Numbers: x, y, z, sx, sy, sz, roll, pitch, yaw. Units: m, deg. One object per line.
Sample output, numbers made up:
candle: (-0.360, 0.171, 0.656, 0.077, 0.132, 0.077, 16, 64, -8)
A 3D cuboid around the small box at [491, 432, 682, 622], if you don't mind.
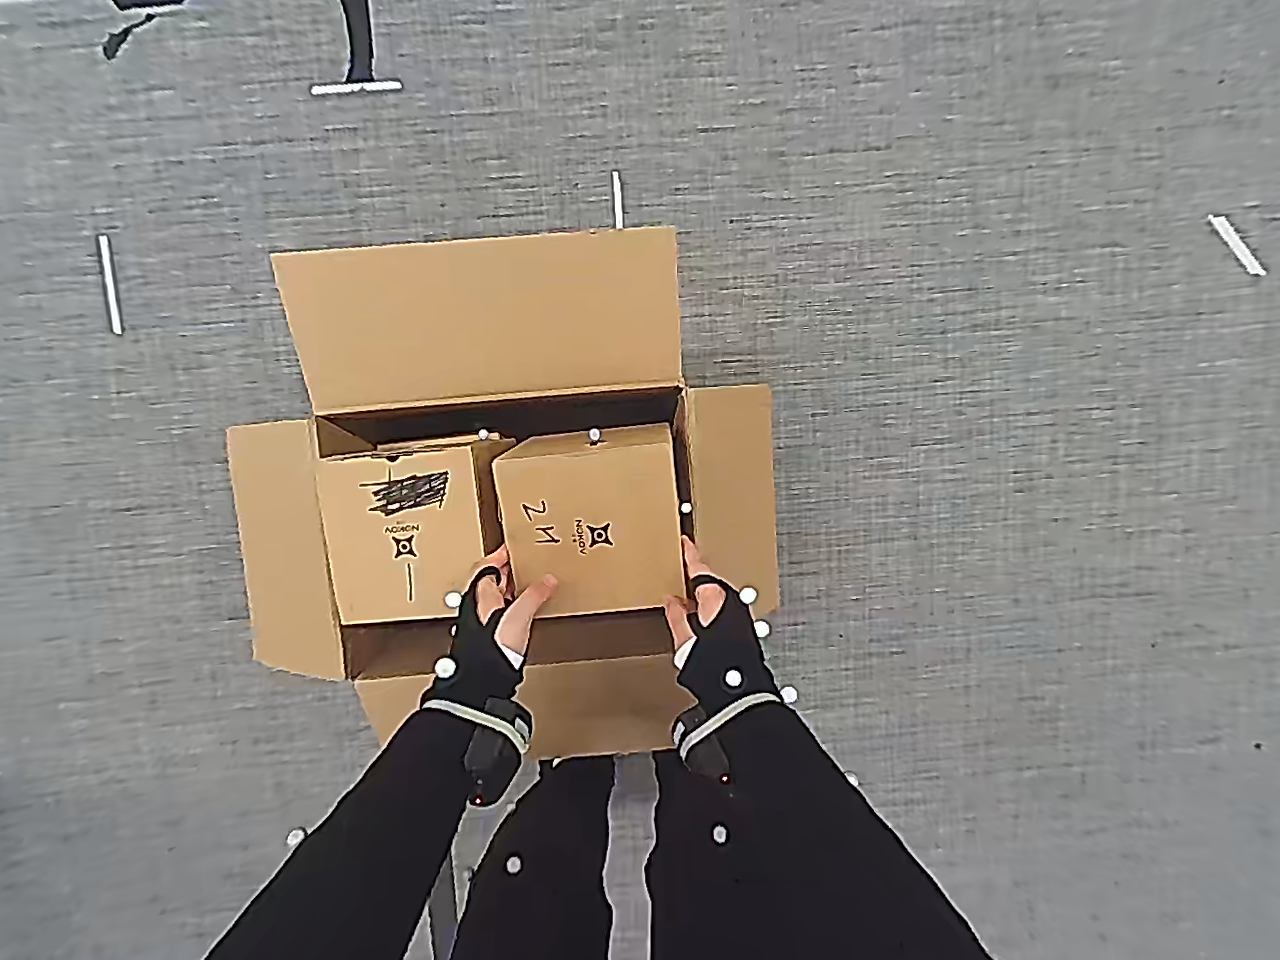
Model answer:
small box: (-0.049, 0.042, 0.611, 0.179, 0.176, 0.168, -5, 102, 4)
